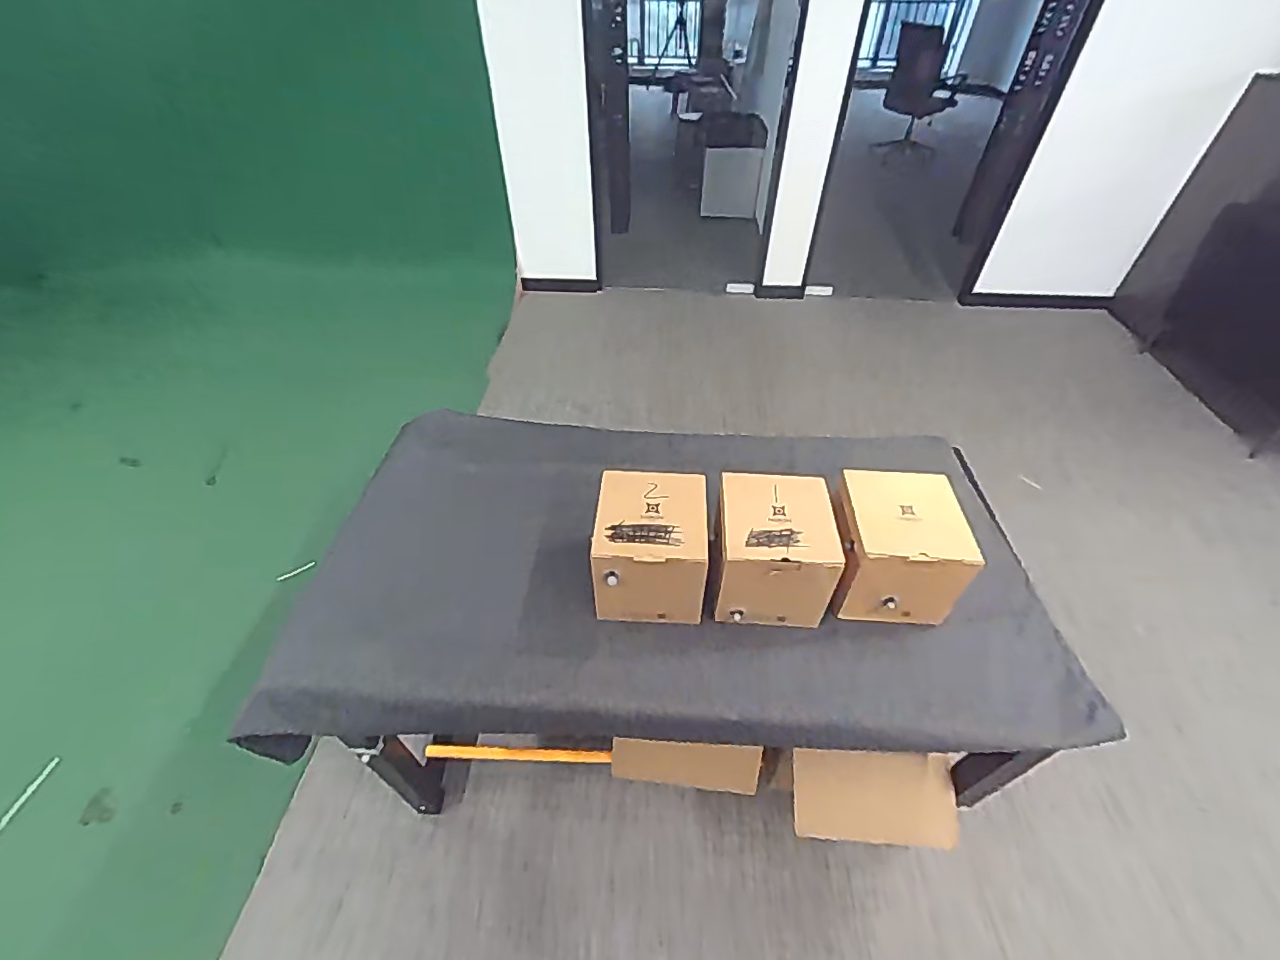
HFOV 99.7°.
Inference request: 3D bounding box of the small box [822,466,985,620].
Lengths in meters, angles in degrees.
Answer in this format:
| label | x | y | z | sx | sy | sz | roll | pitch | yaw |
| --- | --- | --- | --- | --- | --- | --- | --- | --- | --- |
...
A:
| label | x | y | z | sx | sy | sz | roll | pitch | yaw |
| --- | --- | --- | --- | --- | --- | --- | --- | --- | --- |
| small box | 0.403 | 0.100 | 0.867 | 0.168 | 0.176 | 0.179 | 3 | 46 | 3 |
